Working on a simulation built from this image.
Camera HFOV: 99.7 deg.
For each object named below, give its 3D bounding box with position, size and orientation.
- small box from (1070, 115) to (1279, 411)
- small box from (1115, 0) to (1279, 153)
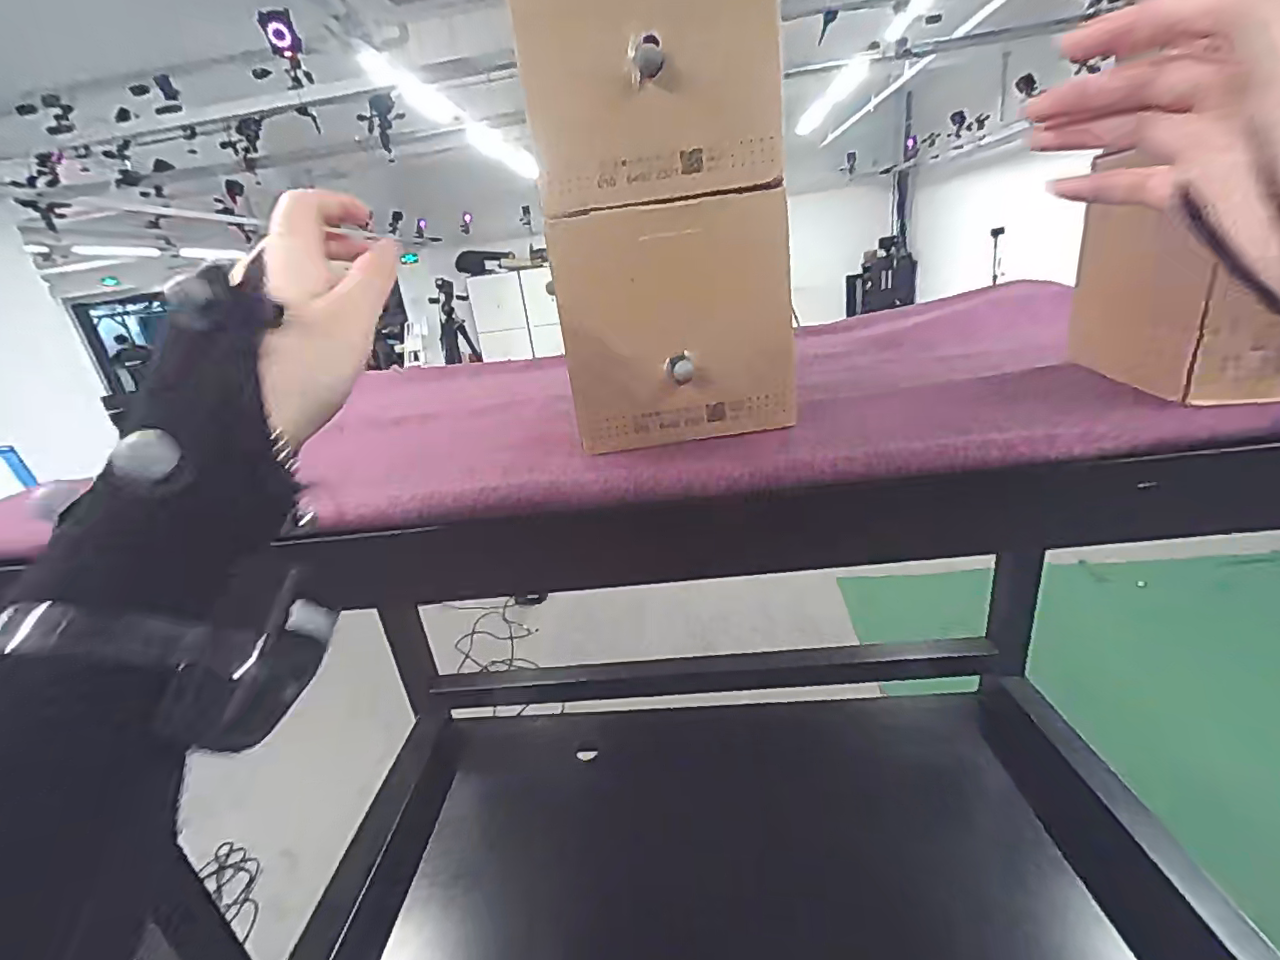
[{"bbox_3d":[0.436,-0.151,0.372,0.168,0.176,0.179,-2,23,15],"label":"small box"},{"bbox_3d":[0.414,-0.297,0.306,0.168,0.176,0.179,-2,24,20],"label":"small box"}]
